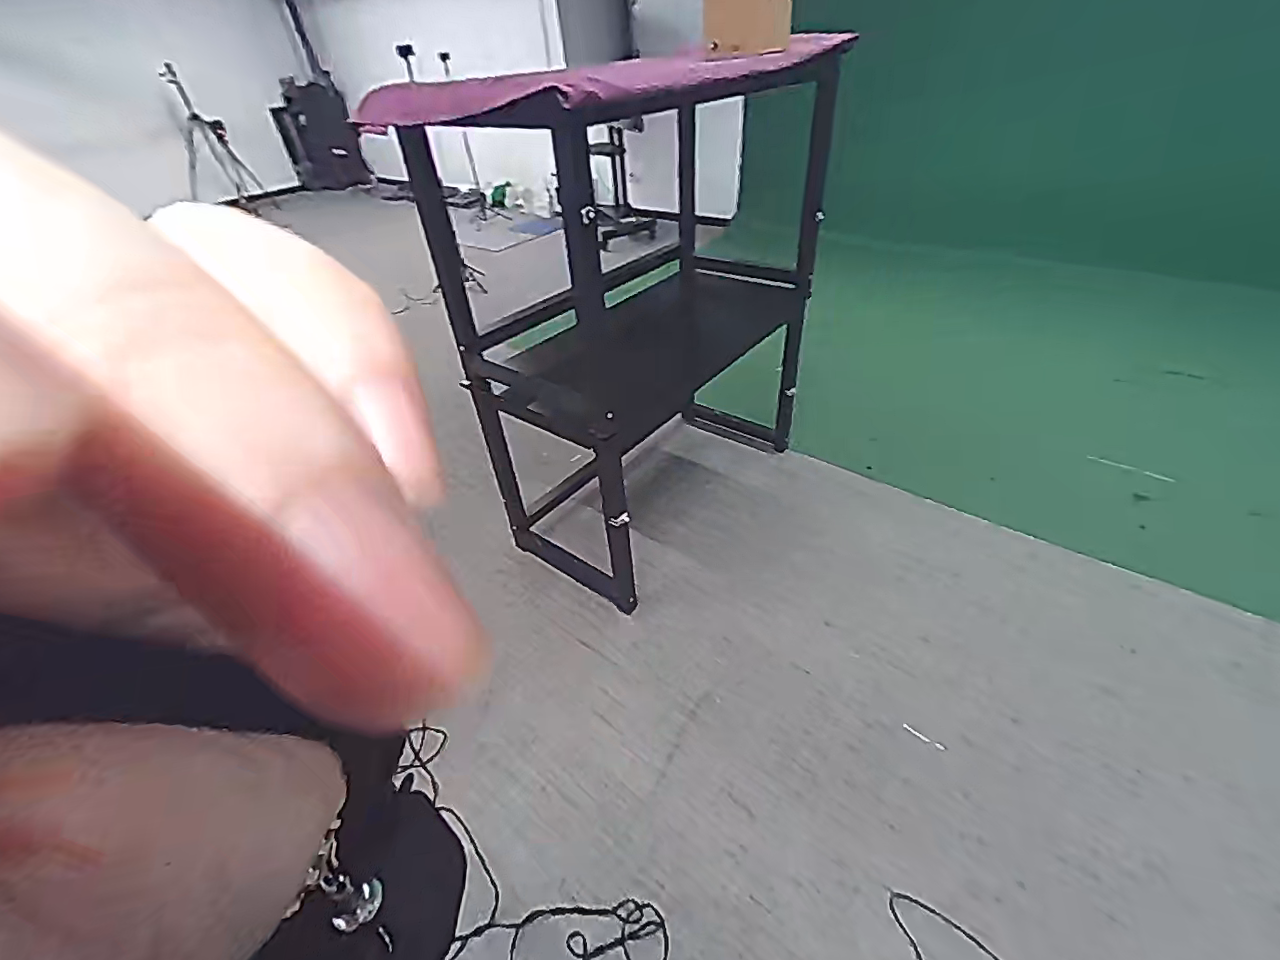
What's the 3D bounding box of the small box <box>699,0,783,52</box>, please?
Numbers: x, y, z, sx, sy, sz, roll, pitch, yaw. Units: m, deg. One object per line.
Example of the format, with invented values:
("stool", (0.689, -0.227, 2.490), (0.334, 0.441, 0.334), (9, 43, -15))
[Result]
("small box", (0.270, -1.246, 1.426), (0.168, 0.176, 0.179), (24, 48, 33))
